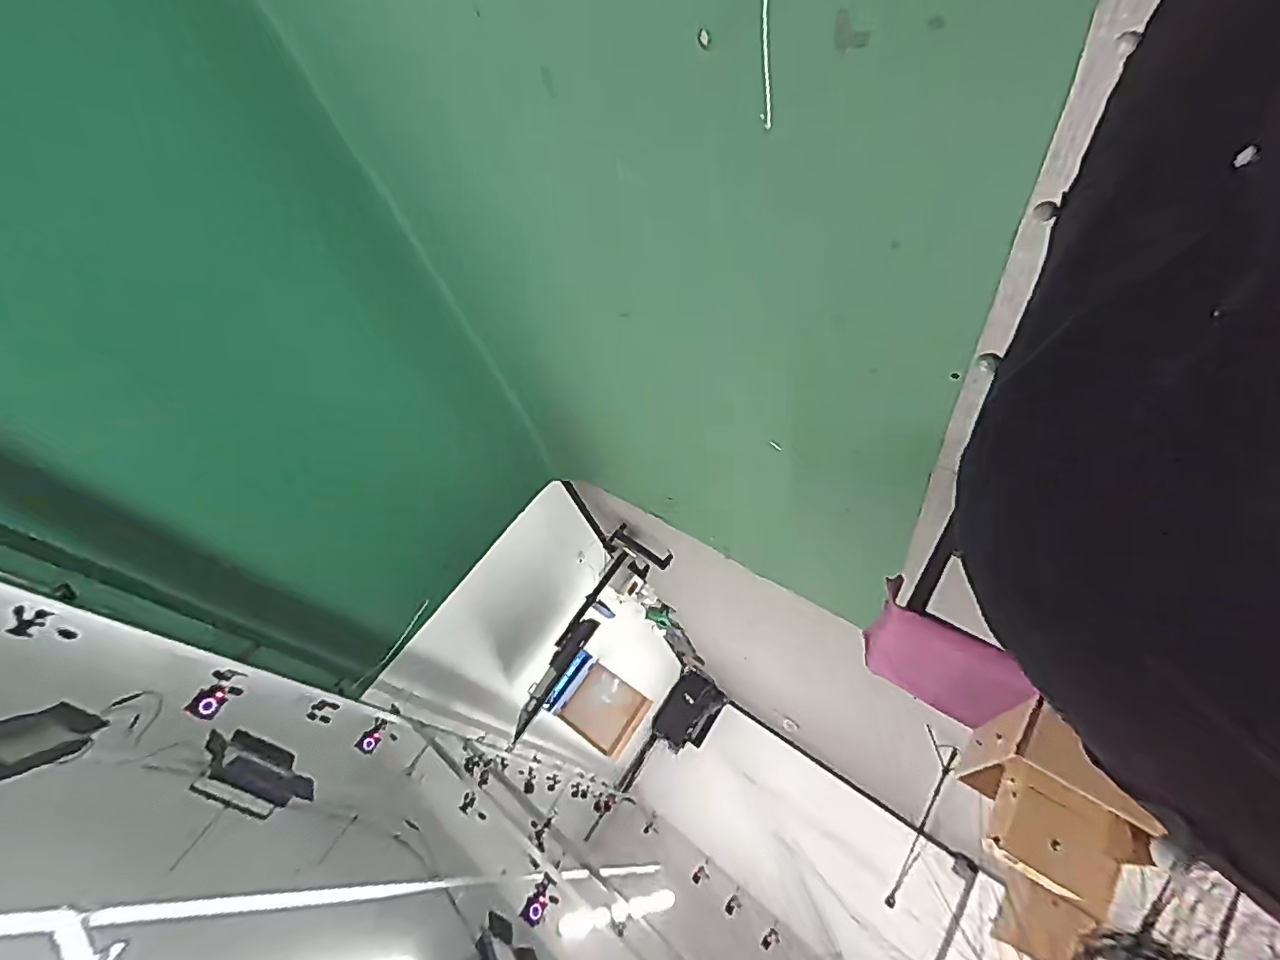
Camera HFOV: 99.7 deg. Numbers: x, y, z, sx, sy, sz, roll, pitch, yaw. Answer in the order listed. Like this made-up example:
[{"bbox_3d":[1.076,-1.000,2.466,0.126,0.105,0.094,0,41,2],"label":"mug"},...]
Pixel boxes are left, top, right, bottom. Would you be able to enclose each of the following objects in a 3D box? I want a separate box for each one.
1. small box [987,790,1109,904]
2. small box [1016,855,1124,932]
[{"bbox_3d":[1.008,0.896,1.341,0.179,0.176,0.168,25,158,26],"label":"small box"},{"bbox_3d":[1.166,1.068,1.465,0.168,0.176,0.179,28,156,27],"label":"small box"}]
